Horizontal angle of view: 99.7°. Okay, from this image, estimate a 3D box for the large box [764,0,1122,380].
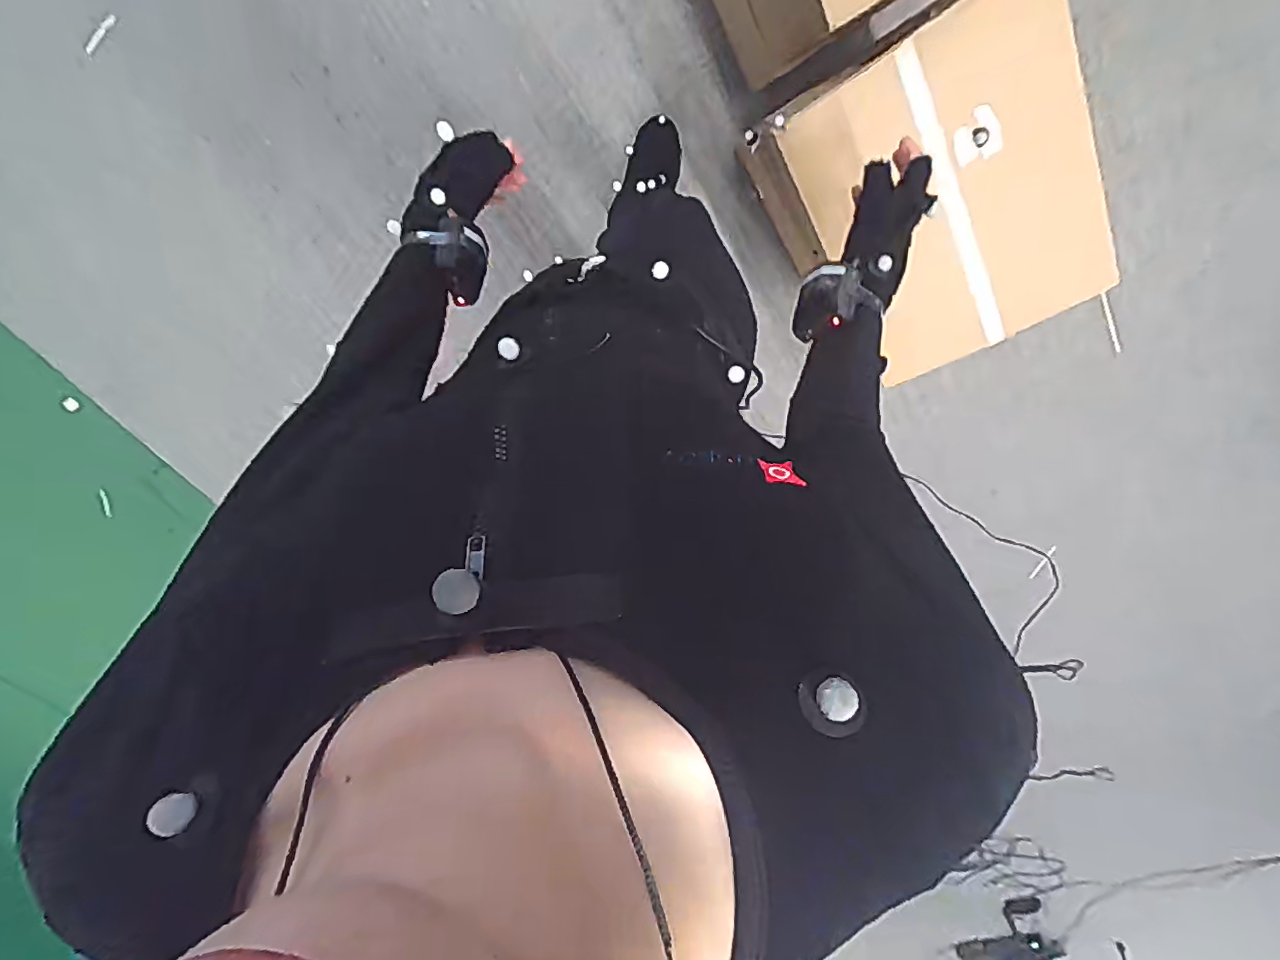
[{"bbox_3d":[0.415,-0.433,0.805,0.320,0.320,0.408,-25,116,23],"label":"large box"}]
